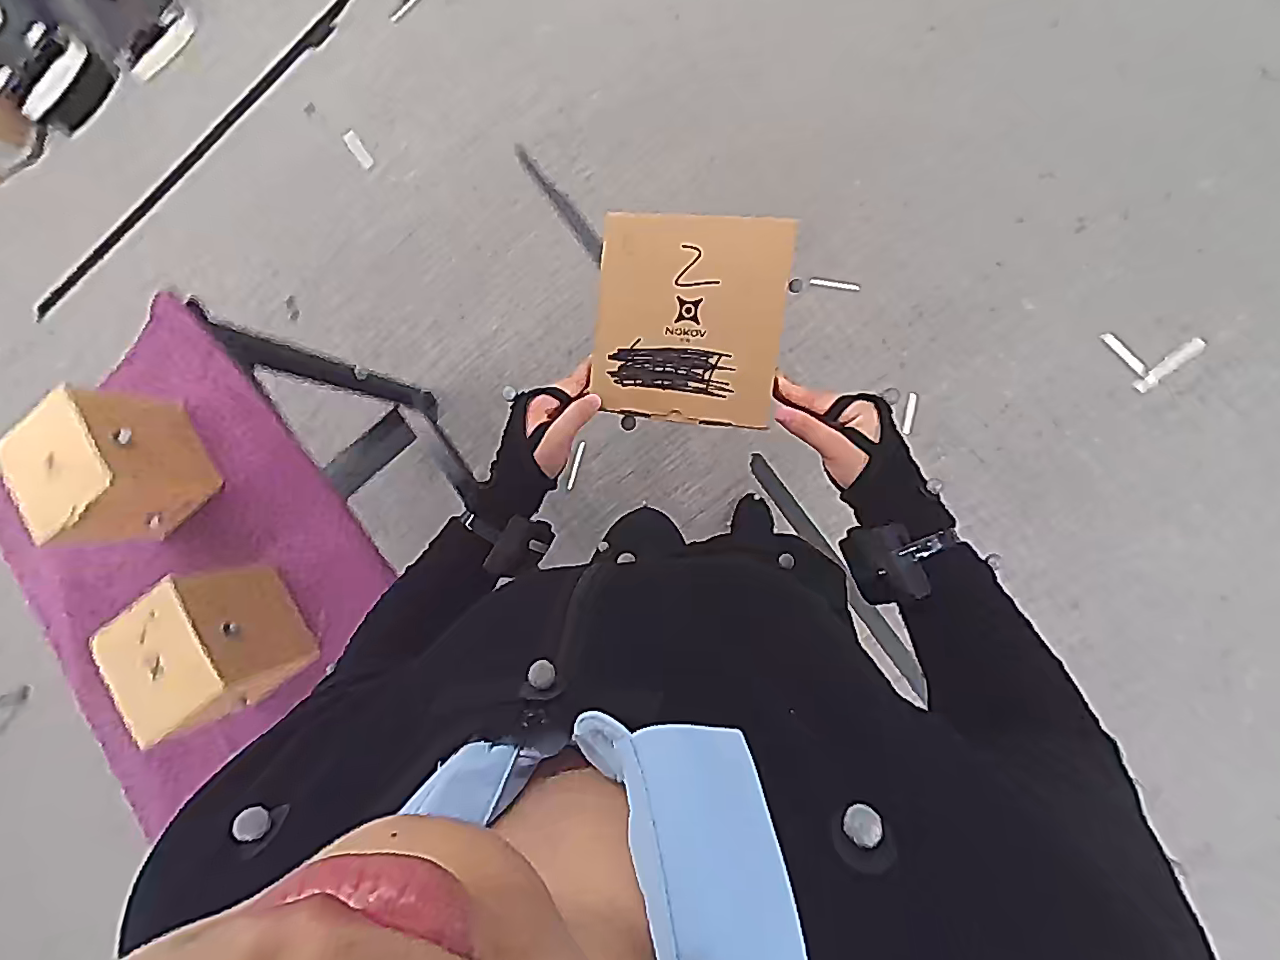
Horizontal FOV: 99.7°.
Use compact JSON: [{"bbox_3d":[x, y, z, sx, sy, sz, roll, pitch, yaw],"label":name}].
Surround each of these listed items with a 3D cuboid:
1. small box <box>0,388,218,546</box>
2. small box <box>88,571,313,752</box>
[{"bbox_3d":[-0.831,-0.015,0.853,0.168,0.176,0.179,-35,83,9],"label":"small box"},{"bbox_3d":[-0.637,0.254,0.803,0.168,0.176,0.179,-35,81,7],"label":"small box"}]
